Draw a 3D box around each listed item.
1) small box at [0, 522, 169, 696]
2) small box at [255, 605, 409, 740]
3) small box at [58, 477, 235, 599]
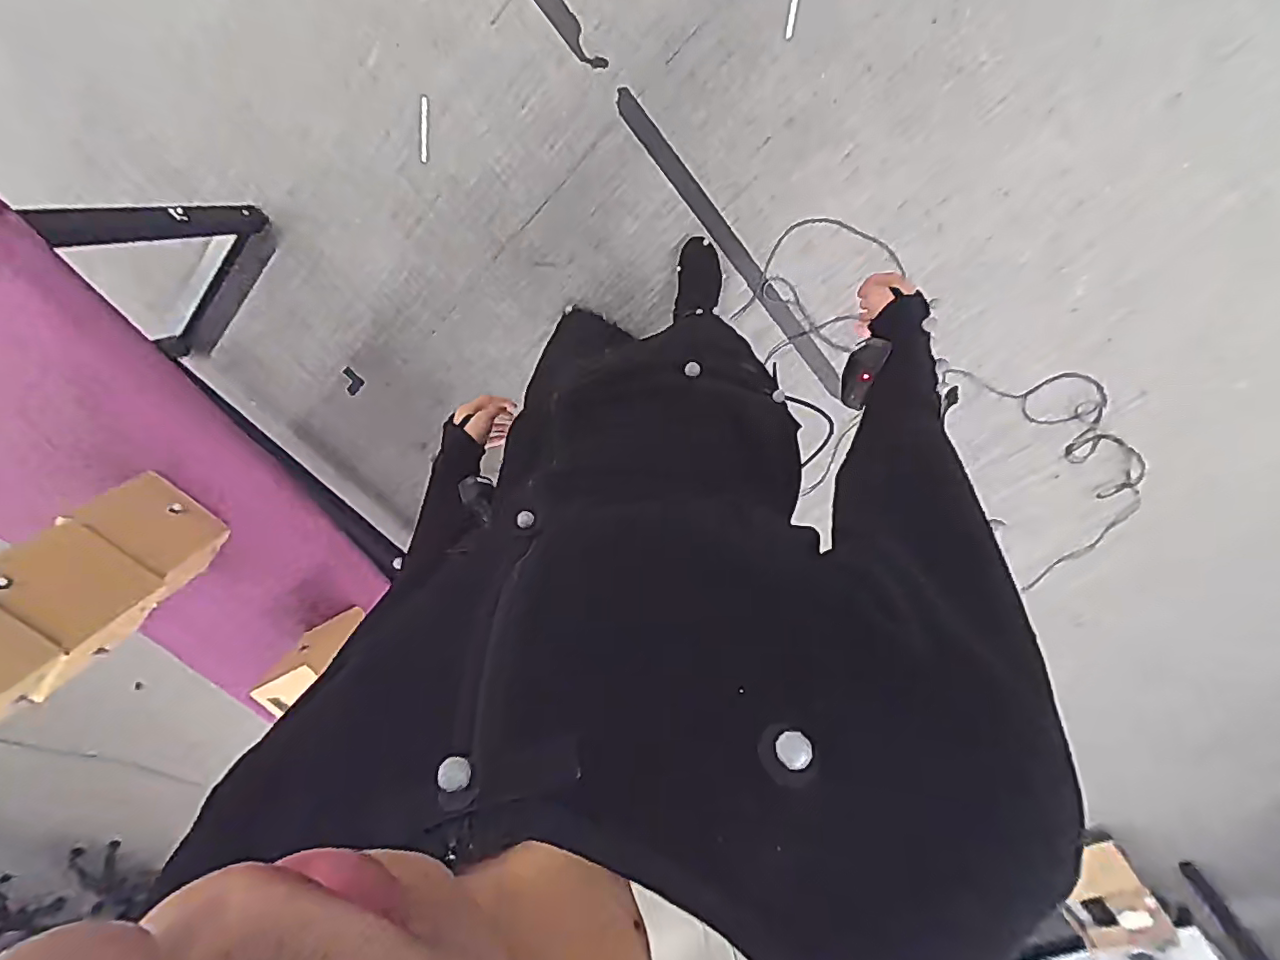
[{"bbox_3d":[-0.920,0.199,0.863,0.168,0.176,0.179,-39,106,25],"label":"small box"},{"bbox_3d":[-0.614,0.388,1.101,0.179,0.176,0.168,-27,110,20],"label":"small box"},{"bbox_3d":[-0.918,0.117,1.005,0.179,0.176,0.168,44,116,-14],"label":"small box"}]
